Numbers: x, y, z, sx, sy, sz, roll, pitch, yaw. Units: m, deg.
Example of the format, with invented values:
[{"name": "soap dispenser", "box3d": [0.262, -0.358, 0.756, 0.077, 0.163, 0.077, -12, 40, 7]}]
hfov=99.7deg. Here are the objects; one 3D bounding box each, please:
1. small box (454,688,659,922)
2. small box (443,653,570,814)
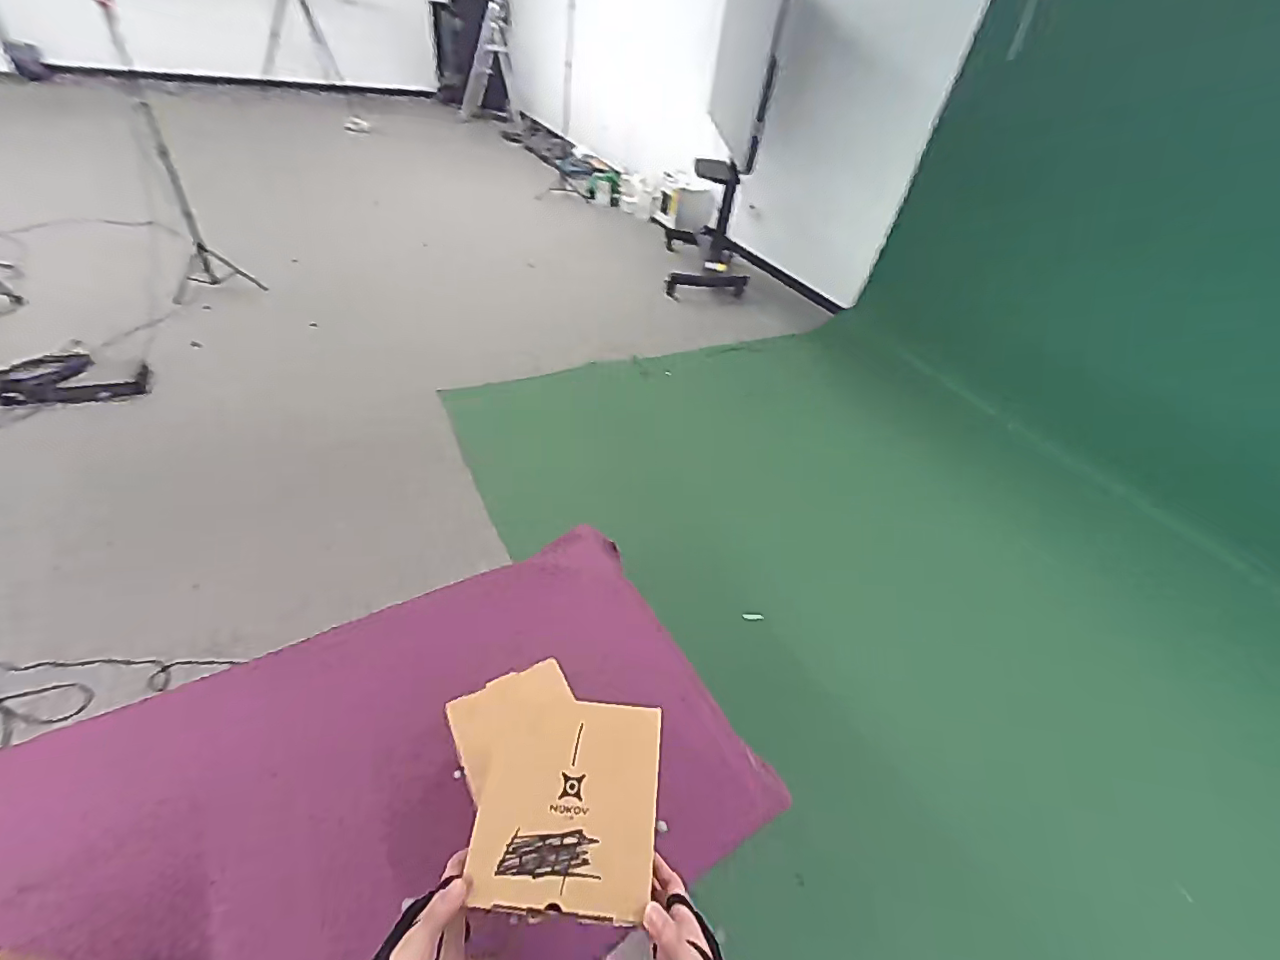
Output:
[{"name": "small box", "box3d": [-0.073, 0.343, 0.572, 0.168, 0.176, 0.179, 7, 52, 2]}, {"name": "small box", "box3d": [-0.178, 0.394, 0.791, 0.168, 0.176, 0.179, -16, 49, -25]}]
